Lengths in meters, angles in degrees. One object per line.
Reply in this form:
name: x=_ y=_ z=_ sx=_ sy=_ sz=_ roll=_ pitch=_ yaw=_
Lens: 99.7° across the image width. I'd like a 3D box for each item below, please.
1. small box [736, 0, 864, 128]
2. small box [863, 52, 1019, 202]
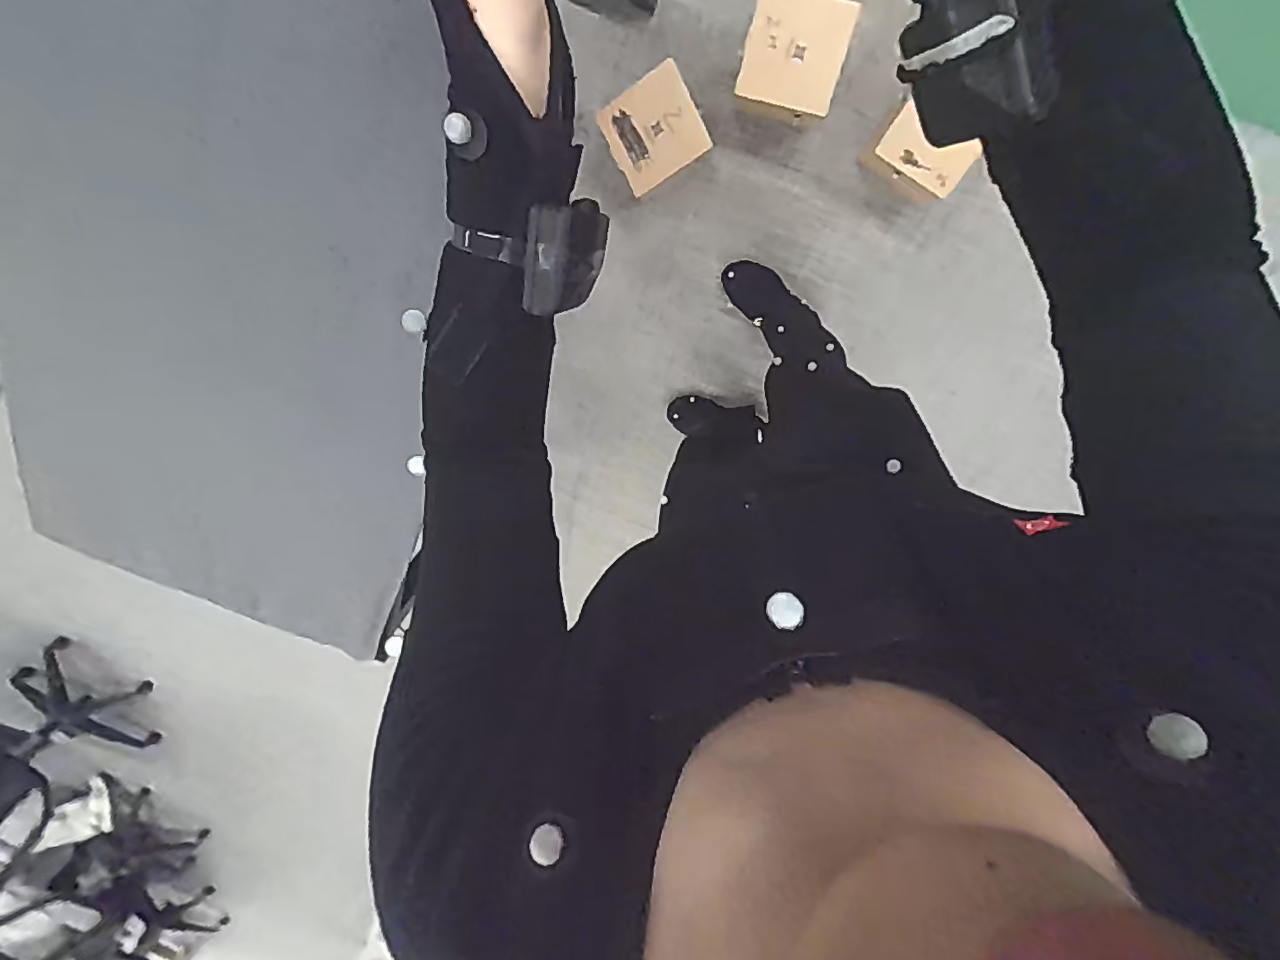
small box: x=0.288 y=-0.781 z=1.017 sx=0.179 sy=0.176 sz=0.168 roll=15 pitch=118 yaw=1
small box: x=0.559 y=-0.661 z=1.036 sx=0.168 sy=0.176 sz=0.179 roll=29 pitch=117 yaw=-7
